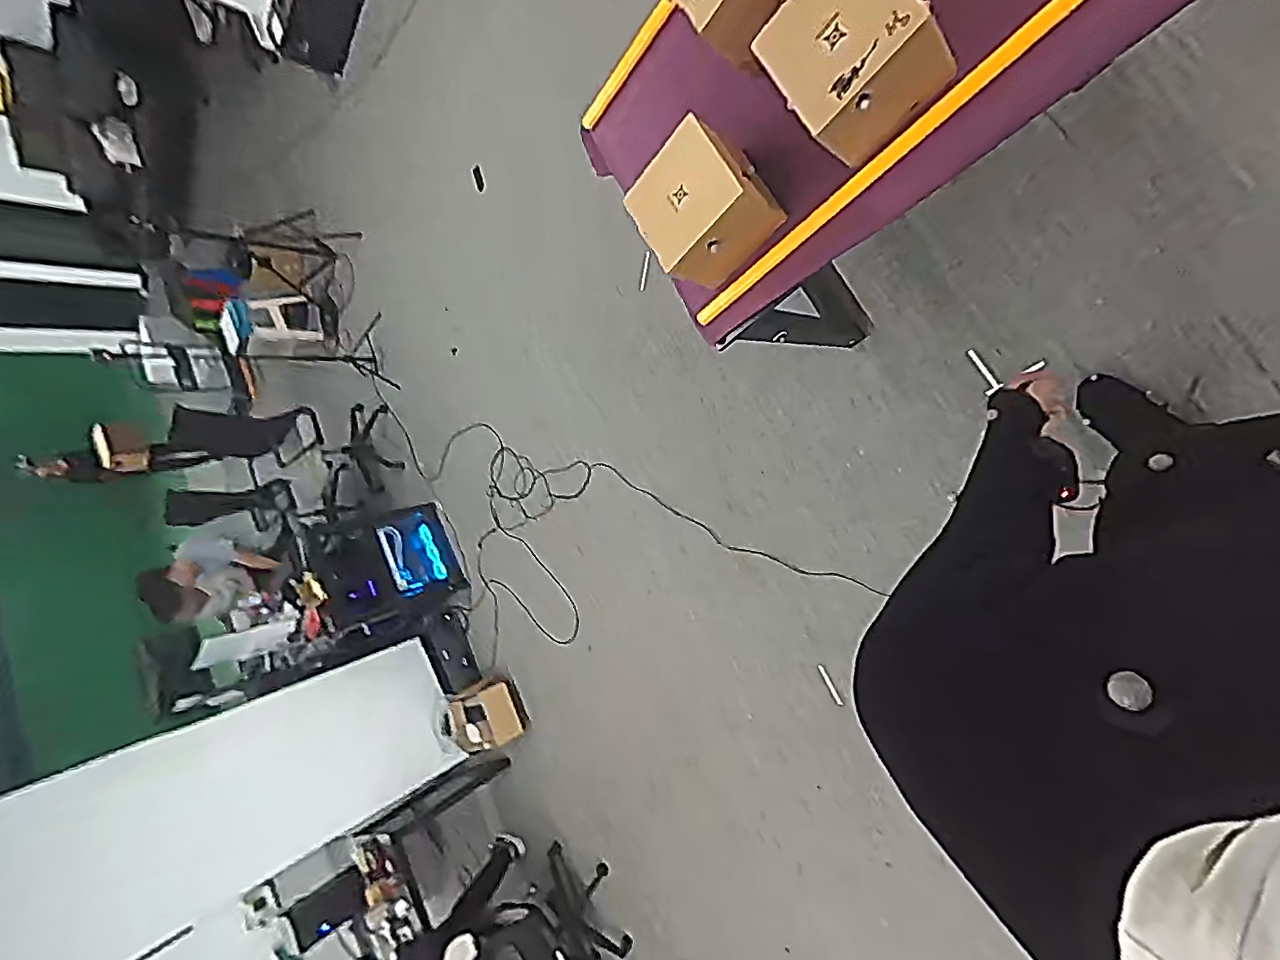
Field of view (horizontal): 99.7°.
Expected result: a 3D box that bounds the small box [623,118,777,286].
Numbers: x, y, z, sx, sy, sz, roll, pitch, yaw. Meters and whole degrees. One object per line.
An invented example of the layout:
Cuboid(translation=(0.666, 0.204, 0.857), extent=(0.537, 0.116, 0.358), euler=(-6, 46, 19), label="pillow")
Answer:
Cuboid(translation=(0.109, -0.458, 0.924), extent=(0.179, 0.176, 0.168), euler=(-38, 74, 39), label="small box")

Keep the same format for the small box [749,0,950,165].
Cuboid(translation=(0.289, -0.577, 0.745), extent=(0.168, 0.176, 0.179), euler=(-37, 74, 40), label="small box")
